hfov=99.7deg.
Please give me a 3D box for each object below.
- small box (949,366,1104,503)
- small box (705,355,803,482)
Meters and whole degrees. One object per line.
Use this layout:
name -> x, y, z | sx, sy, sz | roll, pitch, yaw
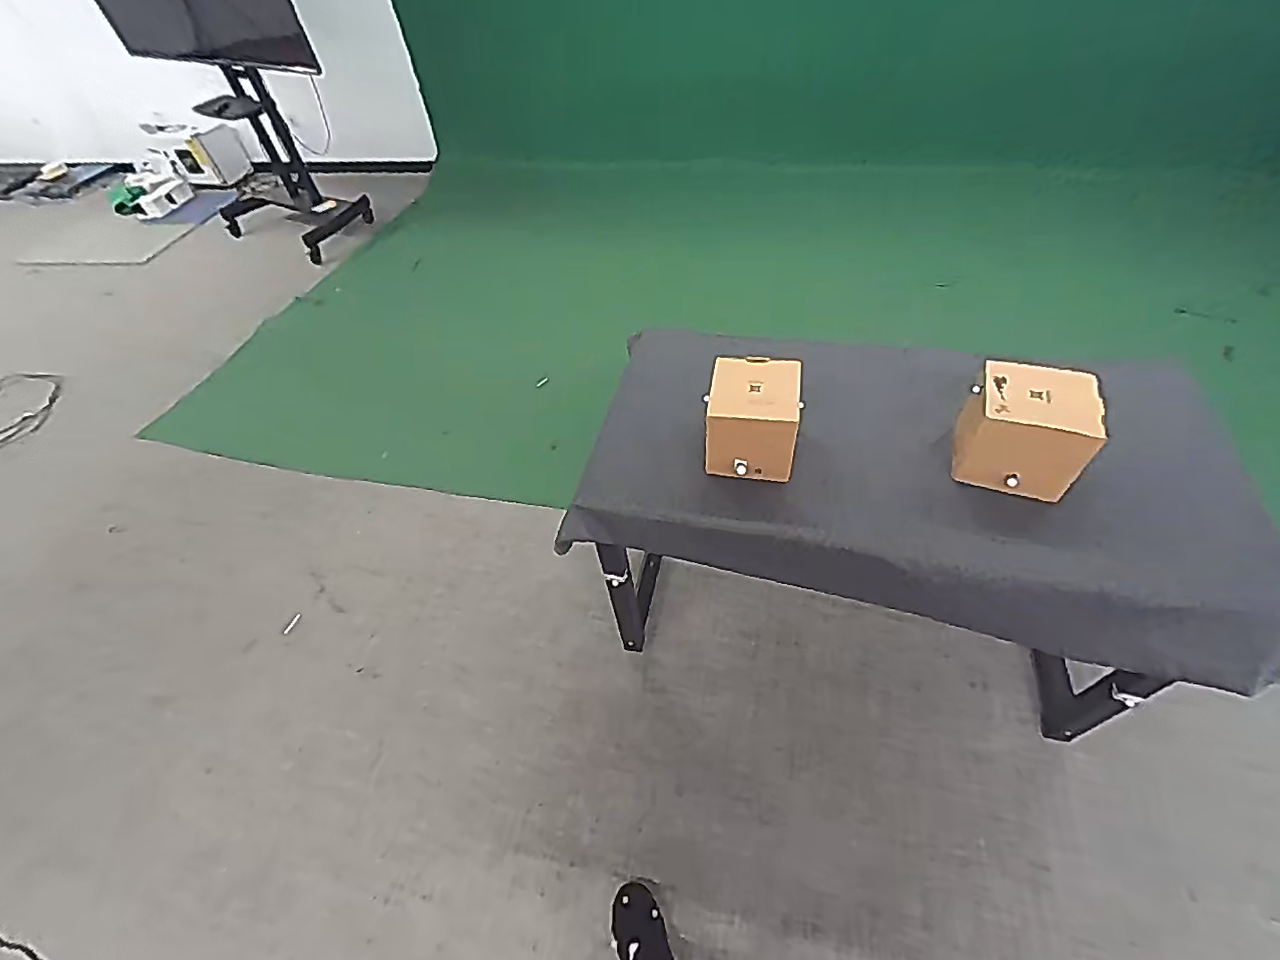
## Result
small box -> 0.699, -0.079, 0.995 | 0.179, 0.176, 0.168 | 15, 53, 18
small box -> 0.222, -0.122, 1.062 | 0.168, 0.176, 0.179 | 6, 50, 14
